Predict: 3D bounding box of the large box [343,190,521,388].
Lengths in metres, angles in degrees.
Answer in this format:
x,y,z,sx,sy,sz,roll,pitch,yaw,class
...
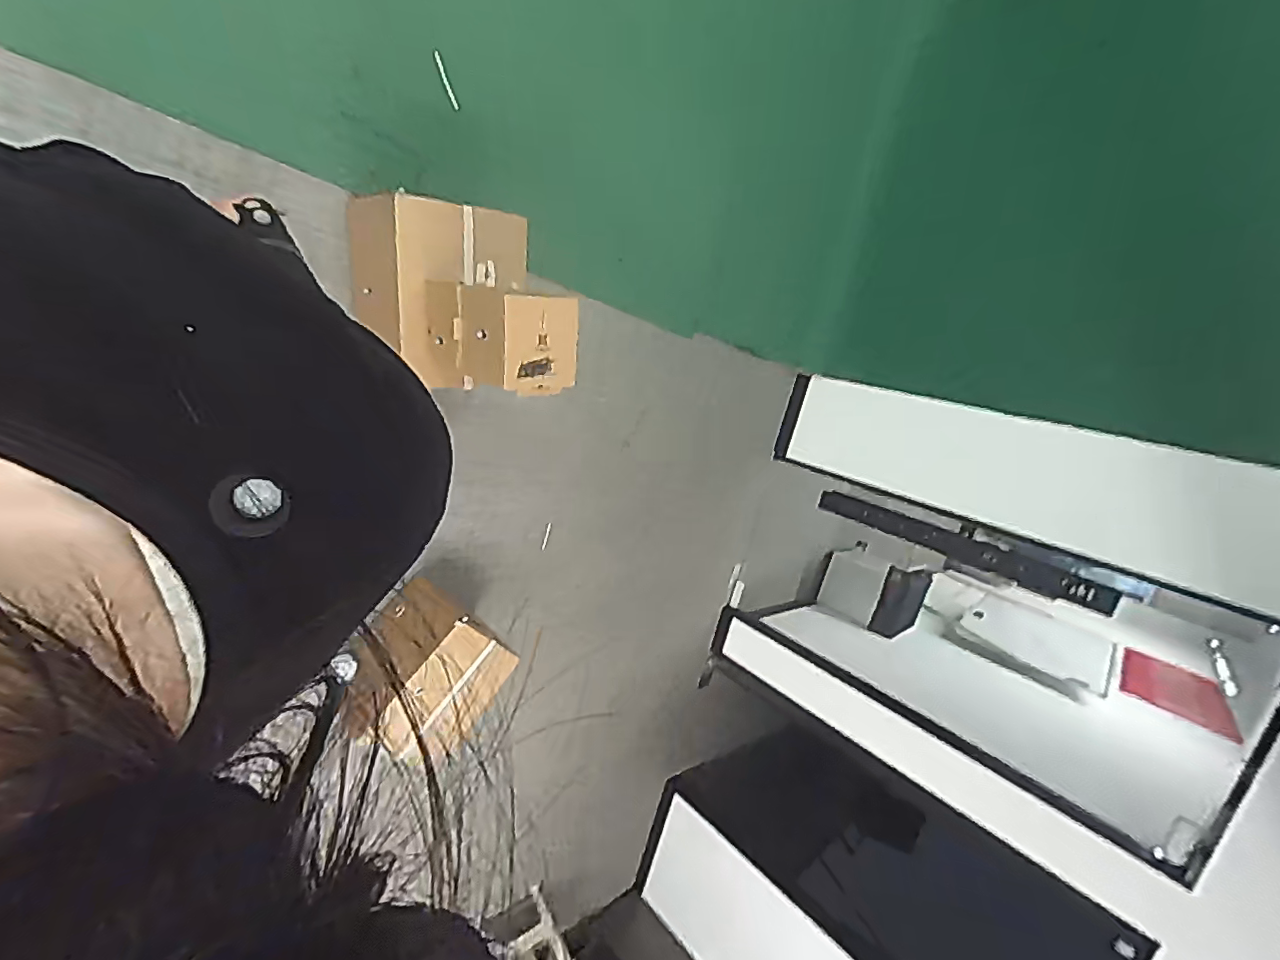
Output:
x,y,z,sx,sy,sz,roll,pitch,yaw,class
-0.509,-0.457,1.336,0.320,0.320,0.408,-13,116,-43,large box

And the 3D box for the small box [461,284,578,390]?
x,y,z,sx,sy,sz,roll,pitch,yaw,class
-0.242,-0.285,1.074,0.168,0.176,0.179,-13,117,-42,small box

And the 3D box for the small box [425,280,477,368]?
x,y,z,sx,sy,sz,roll,pitch,yaw,class
-0.356,-0.339,1.180,0.179,0.176,0.168,-11,117,-42,small box
